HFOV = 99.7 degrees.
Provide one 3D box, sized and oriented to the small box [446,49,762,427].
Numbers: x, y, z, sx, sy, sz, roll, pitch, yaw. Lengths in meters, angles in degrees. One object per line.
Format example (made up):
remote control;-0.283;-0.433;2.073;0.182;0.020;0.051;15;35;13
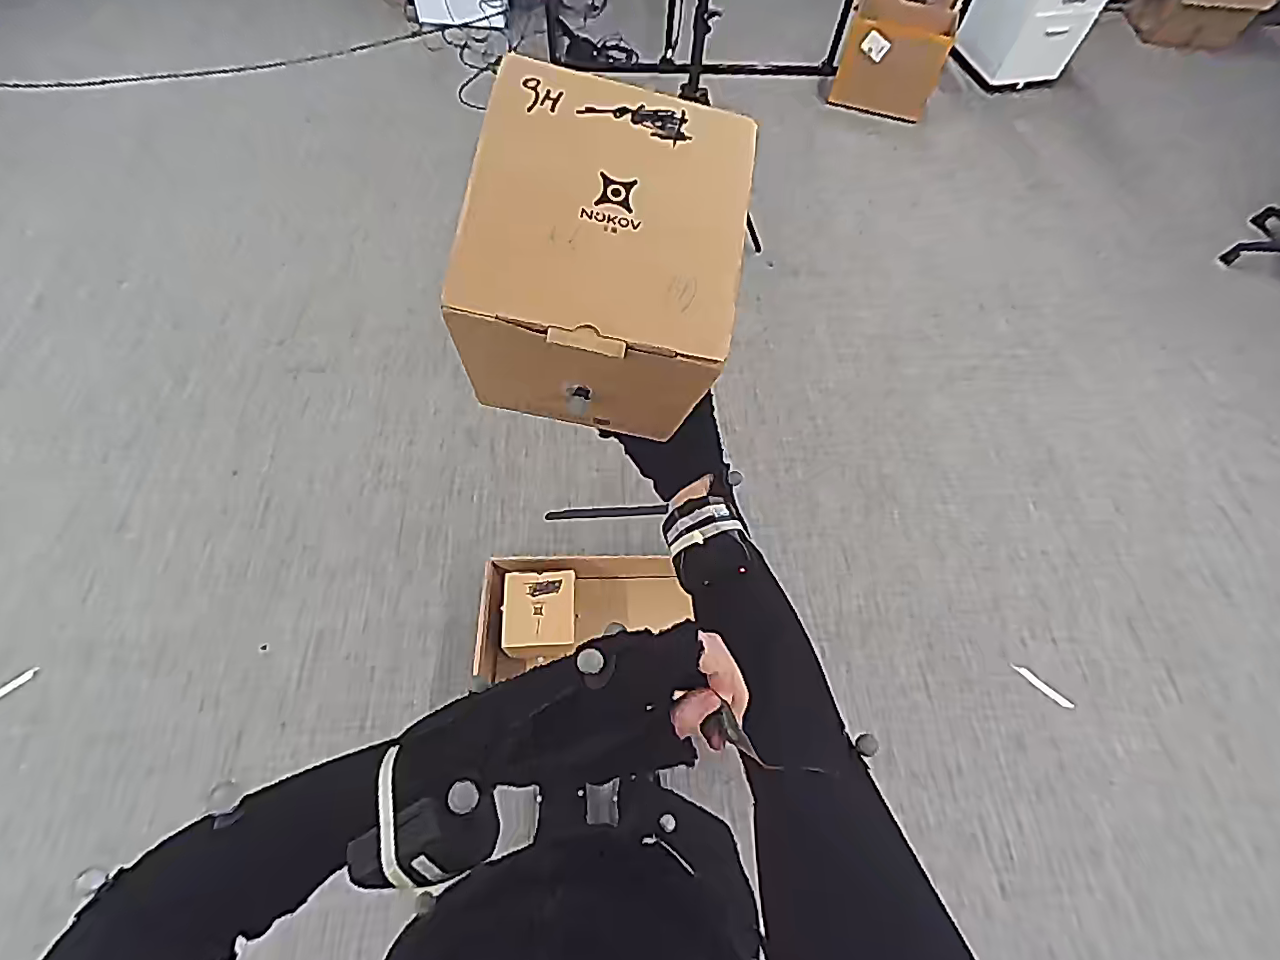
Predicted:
small box;-0.026;-0.151;0.399;0.168;0.176;0.179;10;78;-7
